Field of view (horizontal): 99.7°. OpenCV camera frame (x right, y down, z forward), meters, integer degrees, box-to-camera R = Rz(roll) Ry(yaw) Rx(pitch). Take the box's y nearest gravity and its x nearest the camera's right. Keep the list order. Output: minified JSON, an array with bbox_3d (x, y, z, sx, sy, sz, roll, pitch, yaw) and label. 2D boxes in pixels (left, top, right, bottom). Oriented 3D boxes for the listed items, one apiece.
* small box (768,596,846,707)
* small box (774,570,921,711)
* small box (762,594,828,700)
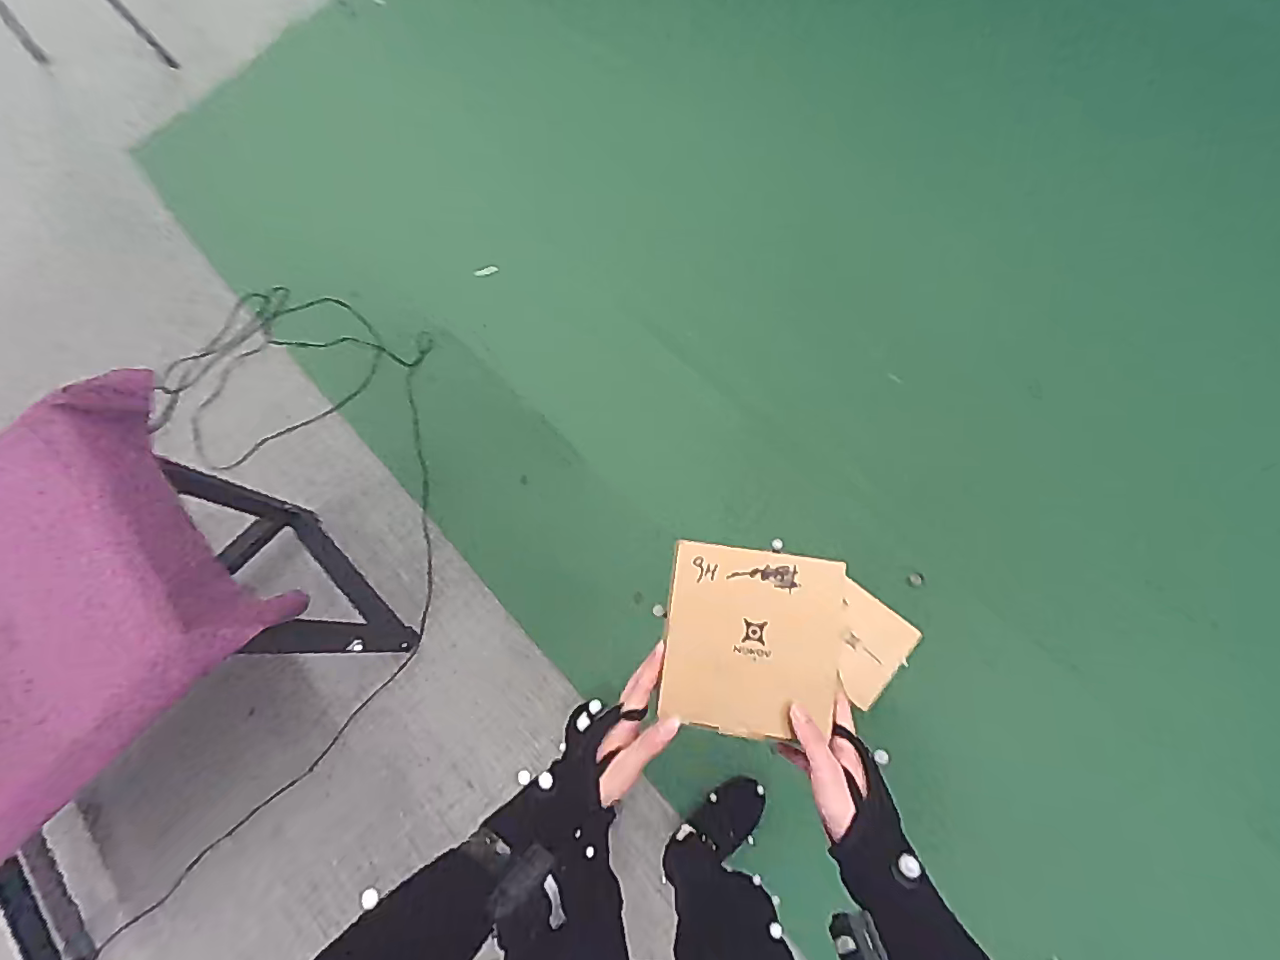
[{"bbox_3d":[0.392,0.347,1.144,0.179,0.176,0.168,41,82,19],"label":"small box"},{"bbox_3d":[0.364,0.294,0.991,0.179,0.176,0.168,39,82,17],"label":"small box"},{"bbox_3d":[0.414,0.397,1.296,0.179,0.176,0.168,40,81,18],"label":"small box"}]
